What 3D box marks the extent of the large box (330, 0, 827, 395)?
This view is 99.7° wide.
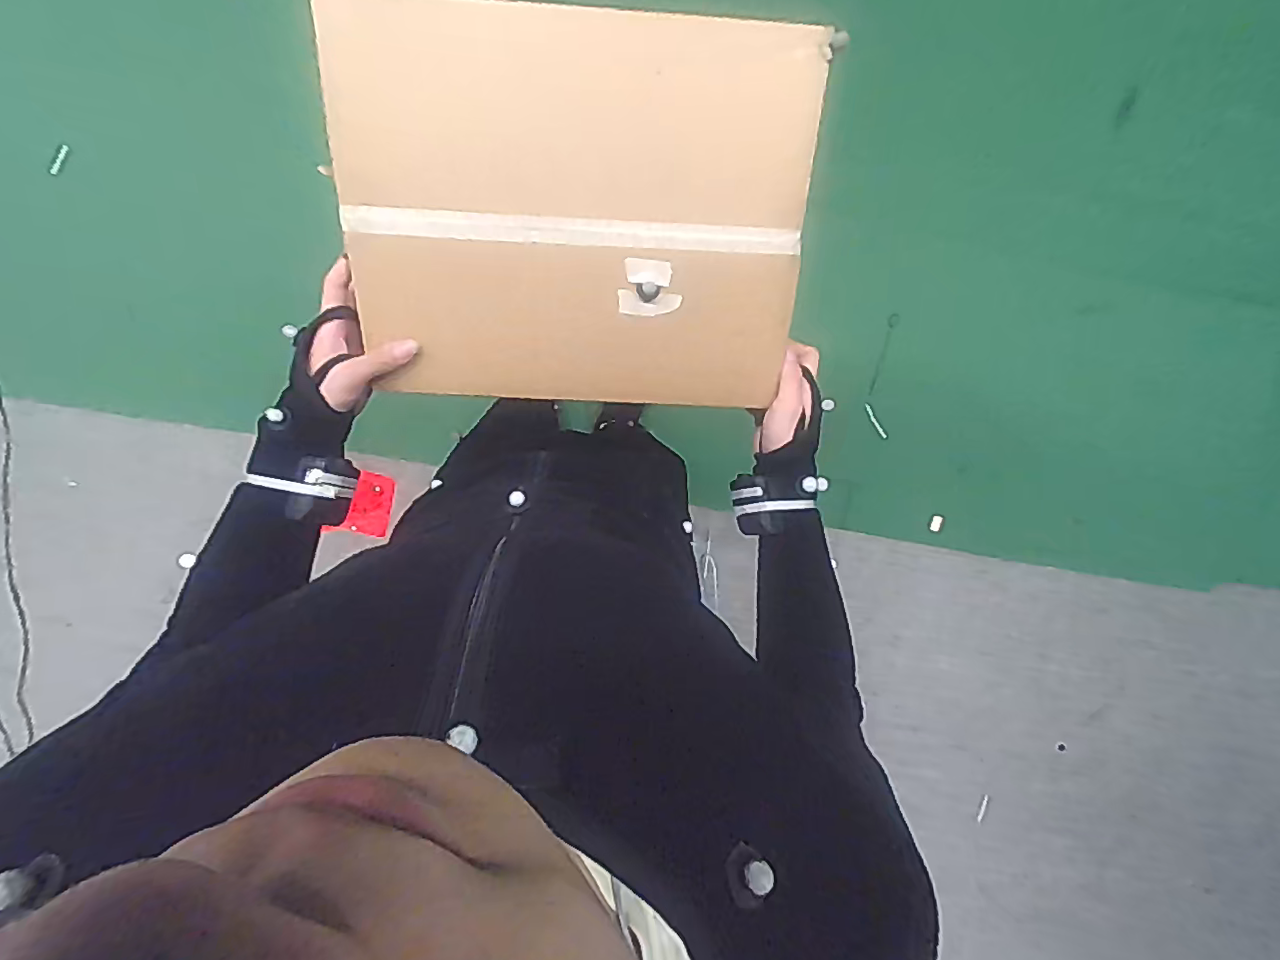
[{"bbox_3d":[-0.059,-0.291,0.624,0.408,0.320,0.320,2,114,-4],"label":"large box"}]

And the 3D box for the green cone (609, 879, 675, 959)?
[{"bbox_3d":[0.008,1.547,1.753,0.200,0.368,0.202,15,99,-3],"label":"green cone"}]

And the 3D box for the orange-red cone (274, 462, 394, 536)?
[{"bbox_3d":[-0.864,0.087,1.475,0.199,0.360,0.198,17,99,-2],"label":"orange-red cone"}]
